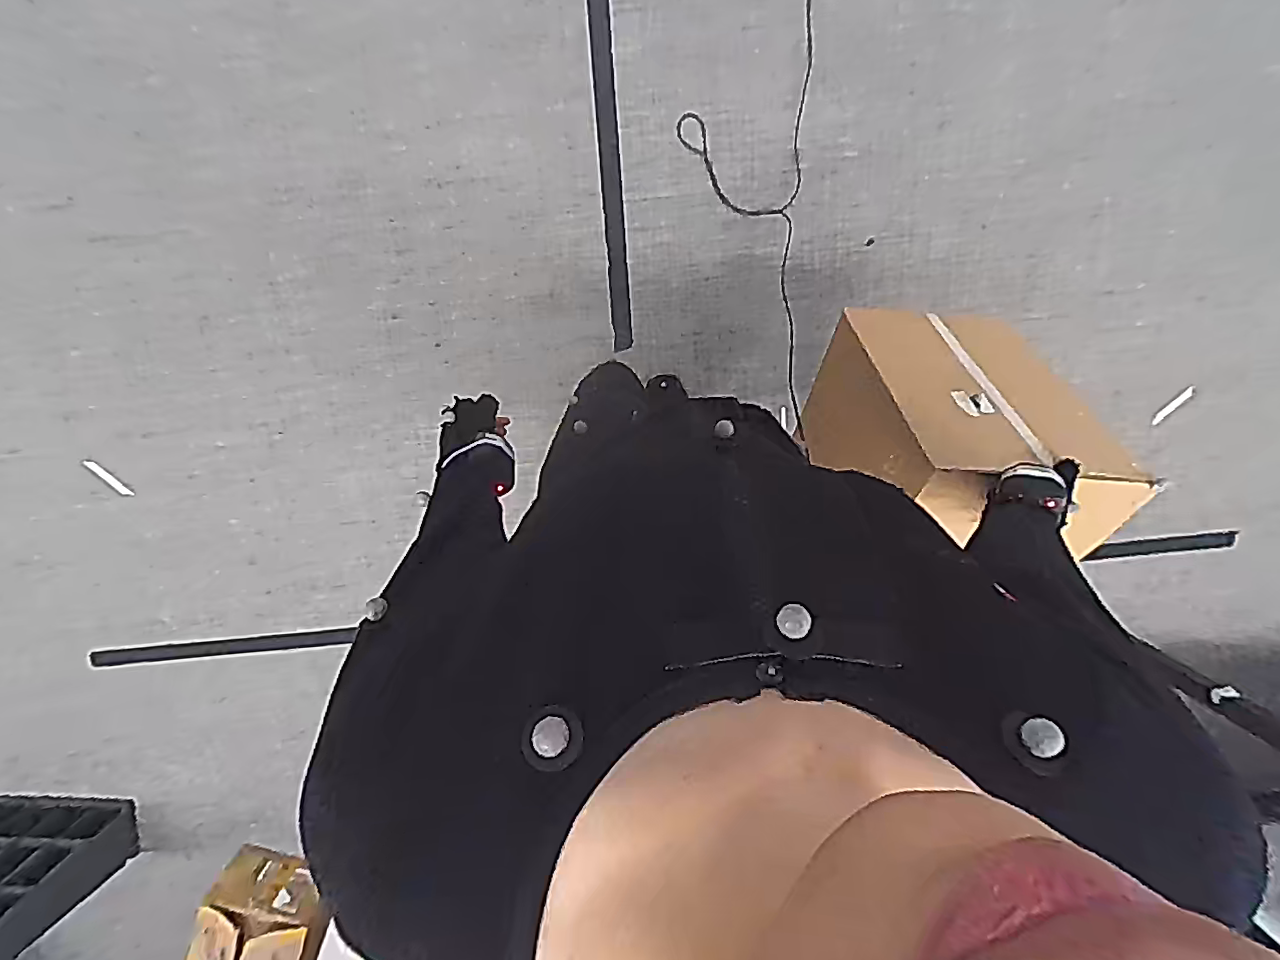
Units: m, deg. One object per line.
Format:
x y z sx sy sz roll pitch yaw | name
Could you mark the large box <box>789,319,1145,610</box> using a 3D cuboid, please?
0.494 -0.030 0.941 0.320 0.408 0.320 3 136 -6 | large box
